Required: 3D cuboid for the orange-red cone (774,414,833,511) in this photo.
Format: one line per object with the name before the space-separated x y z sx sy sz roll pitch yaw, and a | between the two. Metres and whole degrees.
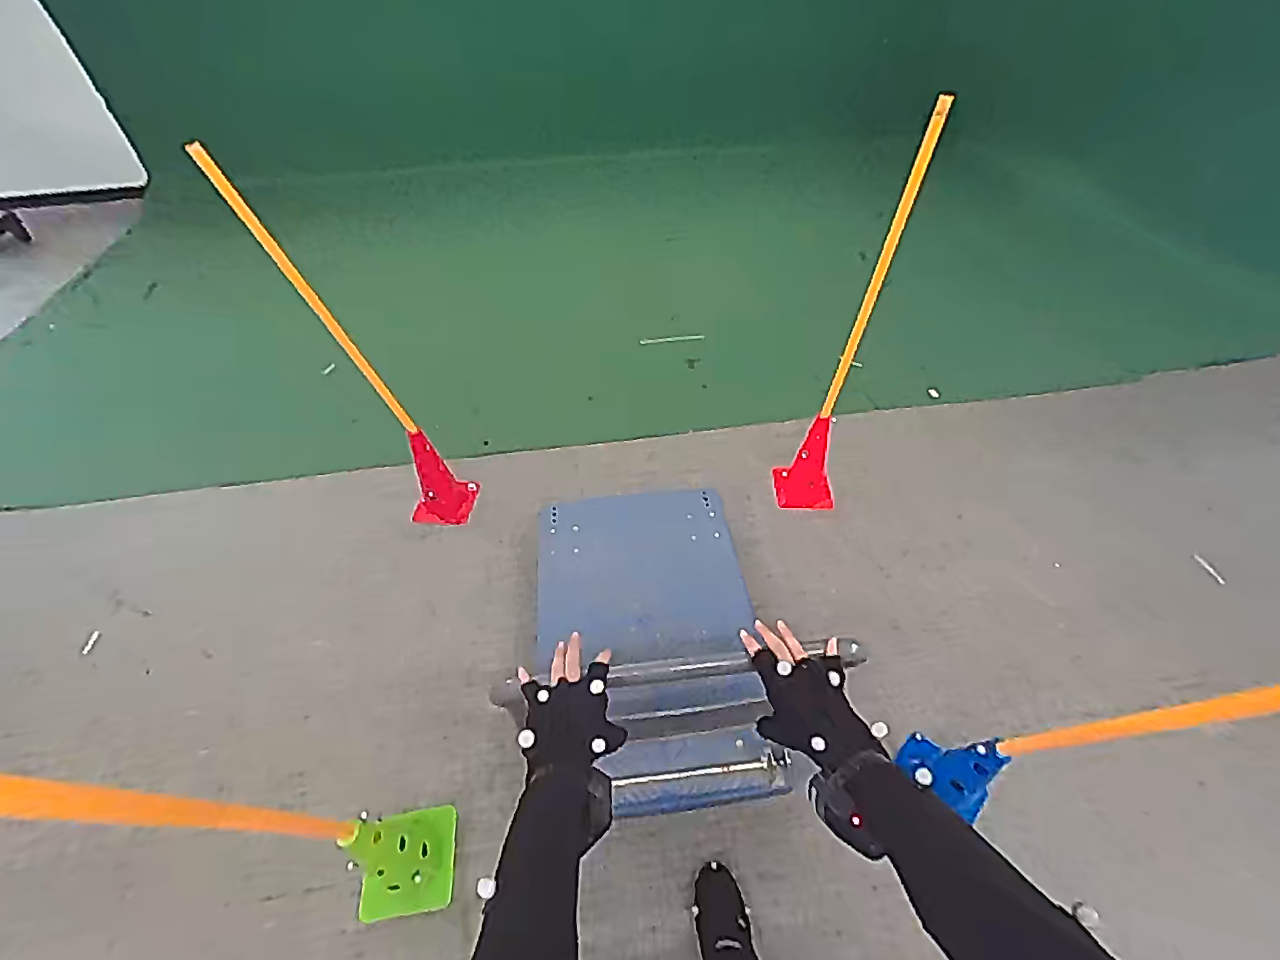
orange-red cone | 0.586 -0.078 1.837 0.198 0.360 0.199 1 49 4
